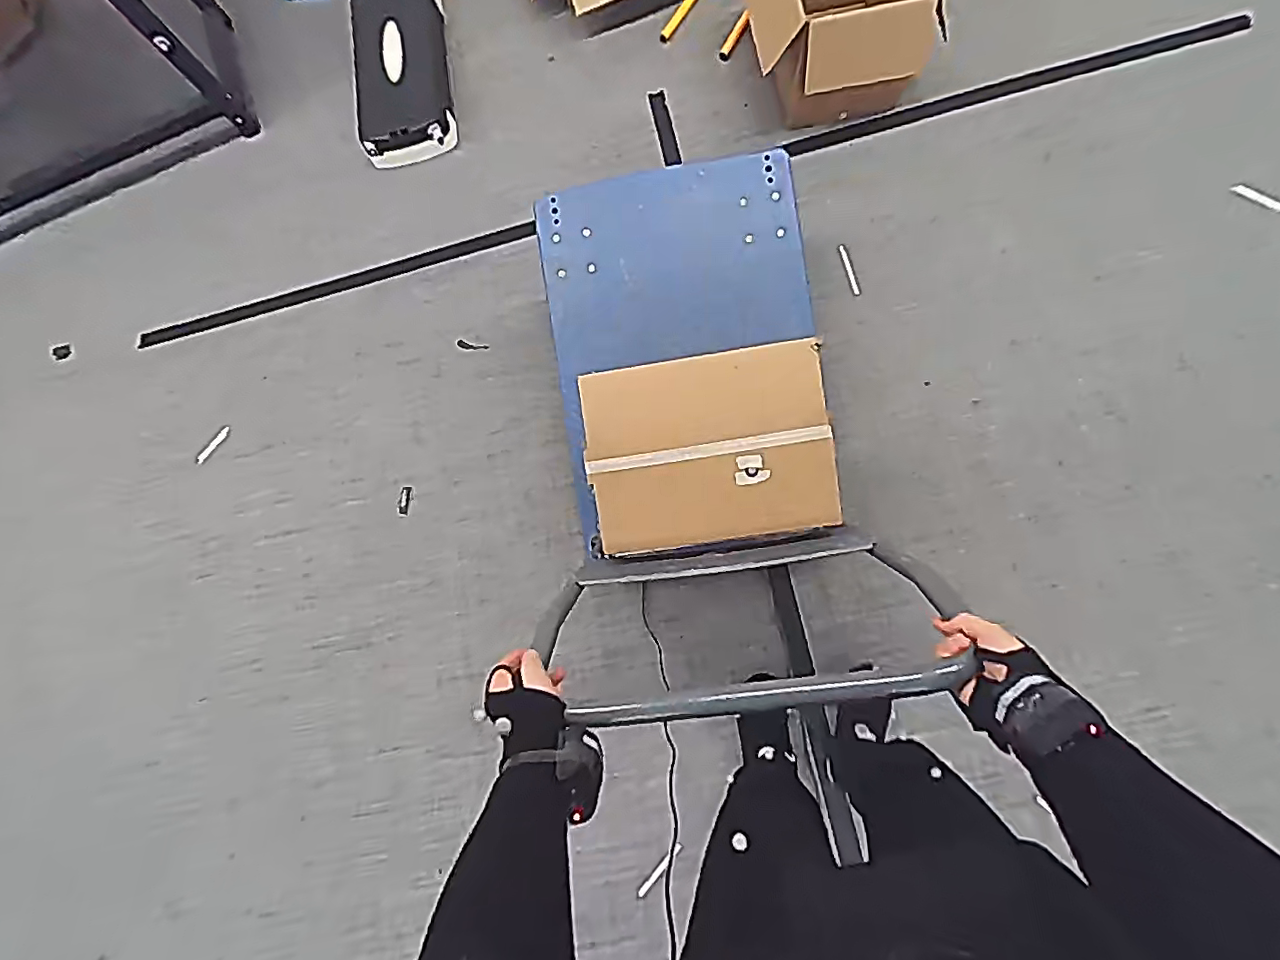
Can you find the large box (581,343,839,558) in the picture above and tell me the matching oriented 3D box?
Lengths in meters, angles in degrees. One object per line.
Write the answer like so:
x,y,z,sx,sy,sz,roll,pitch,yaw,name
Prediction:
0.125,-0.051,1.064,0.408,0.320,0.320,-9,92,4,large box
